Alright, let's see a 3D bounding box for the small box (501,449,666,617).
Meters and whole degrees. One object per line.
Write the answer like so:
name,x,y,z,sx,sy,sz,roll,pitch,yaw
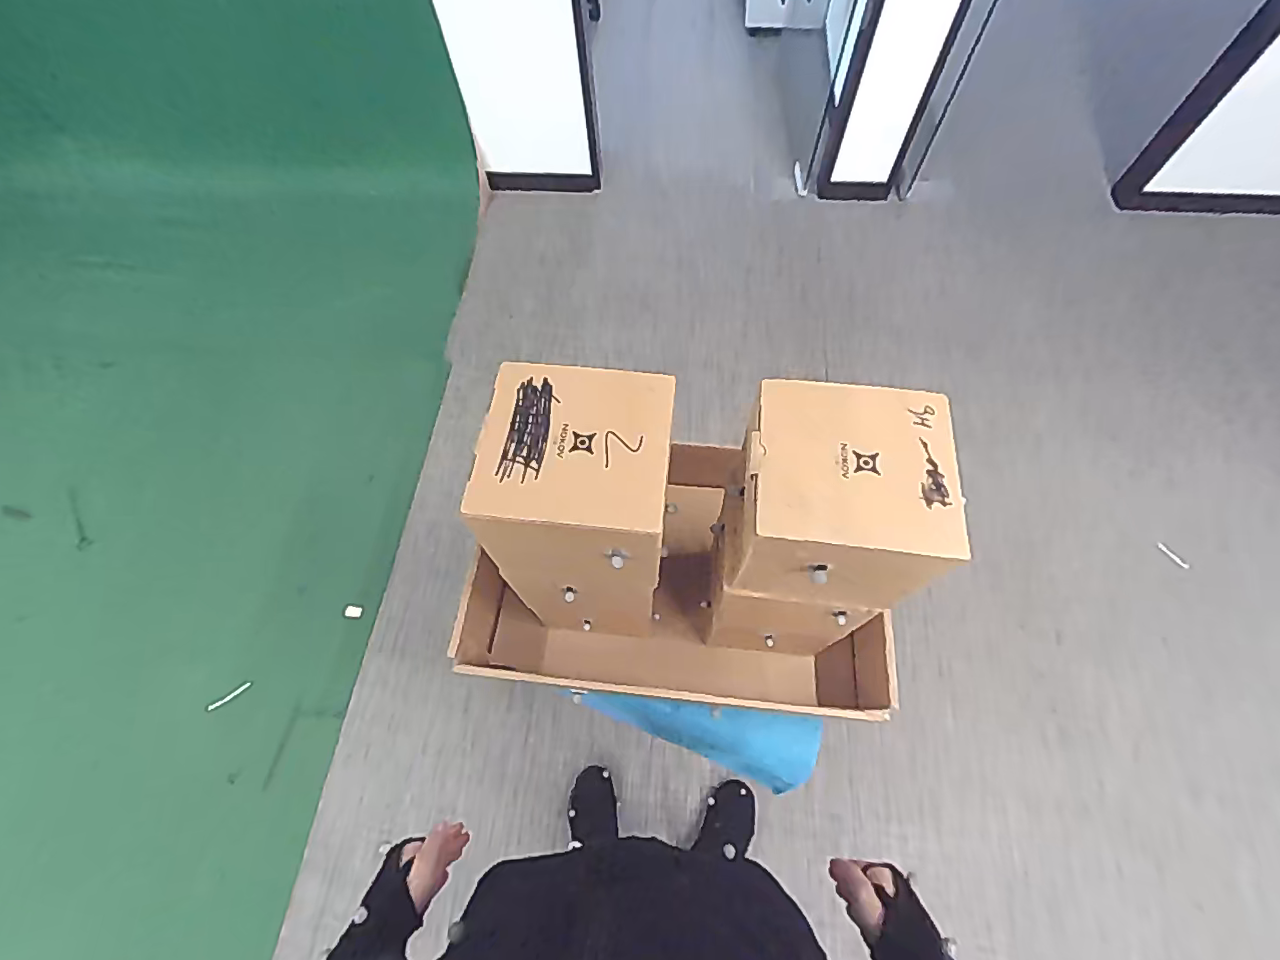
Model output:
small box,-0.061,0.076,0.709,0.179,0.176,0.168,5,64,3
